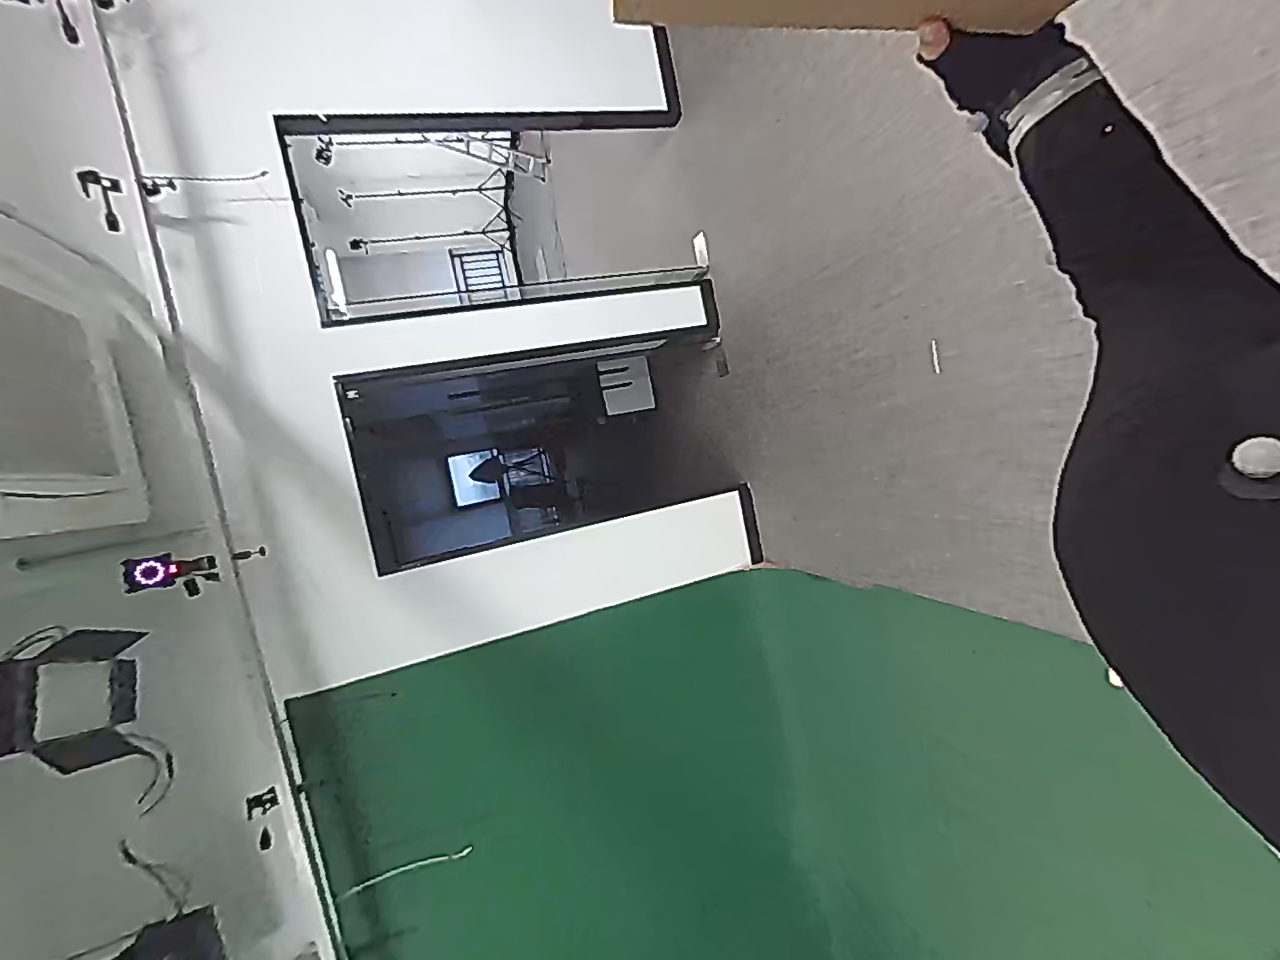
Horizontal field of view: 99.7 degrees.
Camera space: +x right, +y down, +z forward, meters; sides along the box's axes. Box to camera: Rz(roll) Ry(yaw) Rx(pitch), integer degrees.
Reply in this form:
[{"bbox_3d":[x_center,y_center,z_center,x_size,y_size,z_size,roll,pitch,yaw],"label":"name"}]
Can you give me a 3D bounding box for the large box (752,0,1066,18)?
[{"bbox_3d":[0.153,-0.421,0.150,0.408,0.320,0.320,-102,11,-73],"label":"large box"}]
